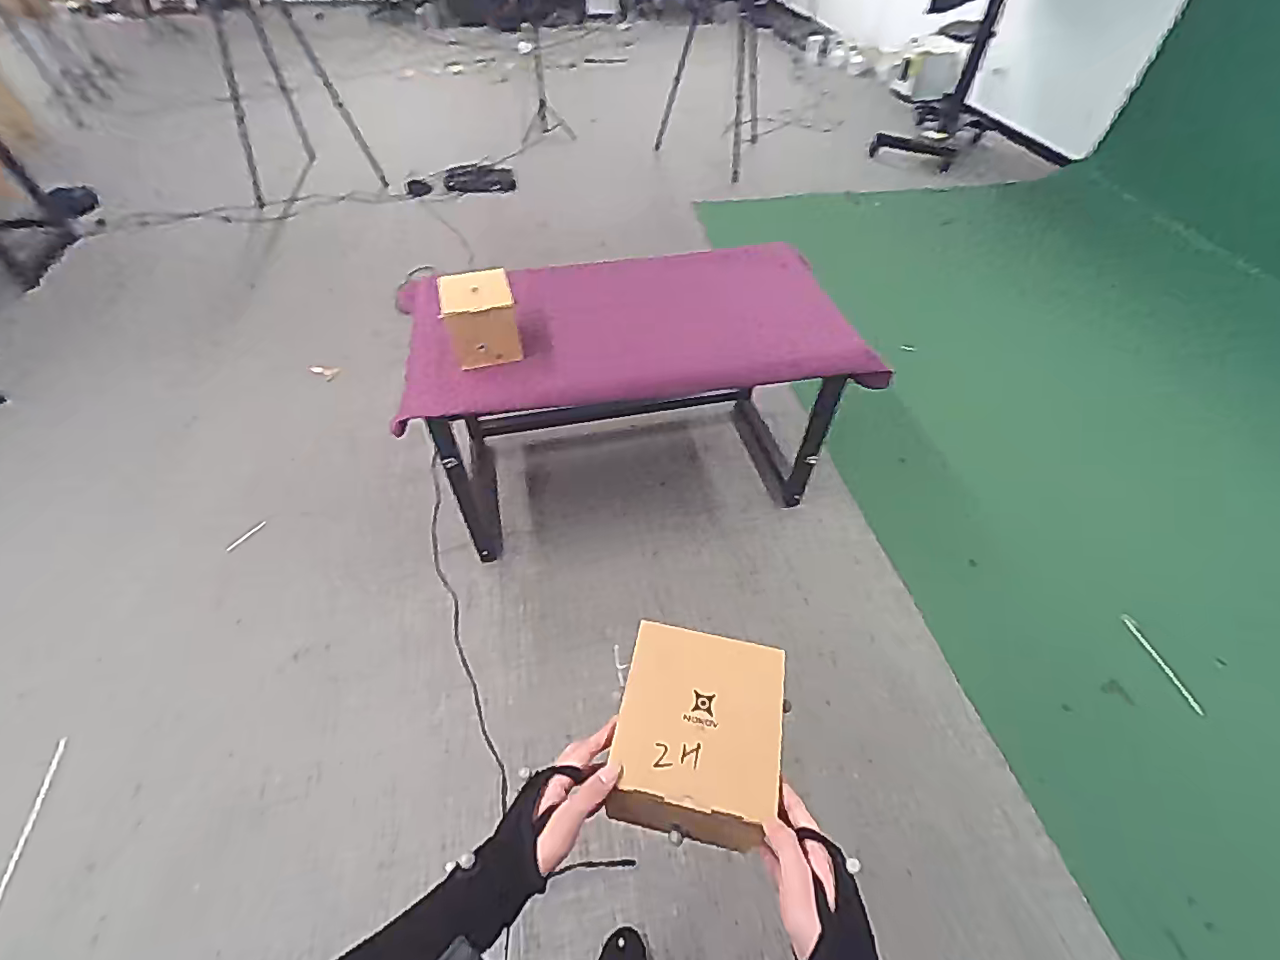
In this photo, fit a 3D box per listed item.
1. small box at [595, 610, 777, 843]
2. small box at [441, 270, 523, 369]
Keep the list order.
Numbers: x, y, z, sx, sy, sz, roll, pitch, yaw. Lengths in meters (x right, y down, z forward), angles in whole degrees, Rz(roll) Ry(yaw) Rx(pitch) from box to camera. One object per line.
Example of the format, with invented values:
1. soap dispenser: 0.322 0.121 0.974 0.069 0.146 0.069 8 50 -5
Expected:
1. small box: 0.051 0.279 0.612 0.168 0.176 0.179 10 49 8
2. small box: -0.406 -0.414 1.397 0.168 0.176 0.179 -13 52 -12
